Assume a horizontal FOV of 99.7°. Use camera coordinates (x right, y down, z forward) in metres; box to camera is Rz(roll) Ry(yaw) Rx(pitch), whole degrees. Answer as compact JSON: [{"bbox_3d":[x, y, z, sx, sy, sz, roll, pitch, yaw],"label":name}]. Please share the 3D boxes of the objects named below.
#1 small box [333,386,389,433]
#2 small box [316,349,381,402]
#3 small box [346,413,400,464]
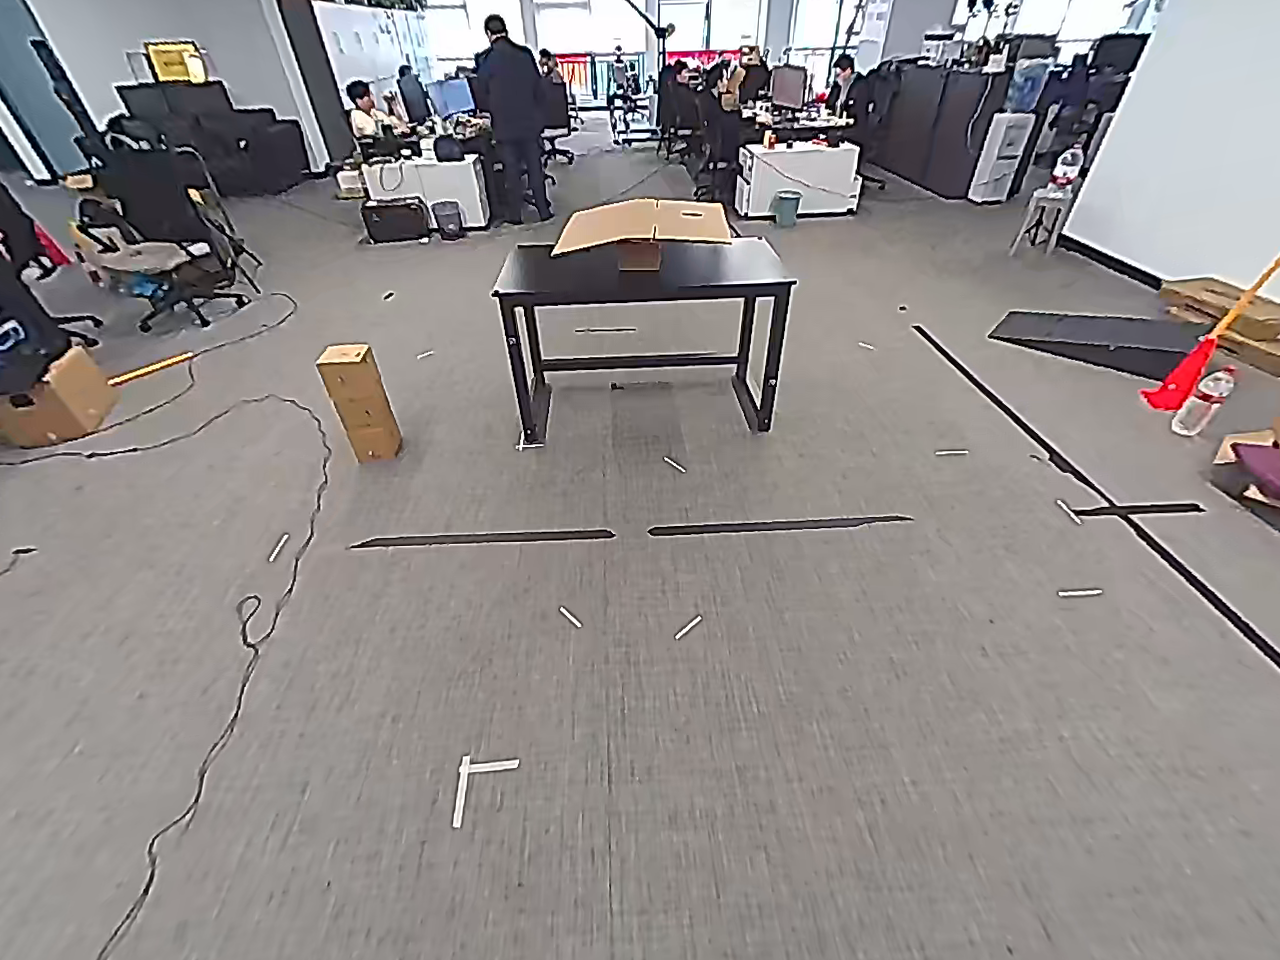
[{"bbox_3d":[-1.251,-0.323,2.434,0.168,0.176,0.179,-7,38,-8],"label":"small box"},{"bbox_3d":[-1.250,-0.448,2.328,0.179,0.176,0.168,-6,40,-5],"label":"small box"},{"bbox_3d":[-1.243,-0.195,2.533,0.168,0.176,0.179,-6,41,-4],"label":"small box"}]
